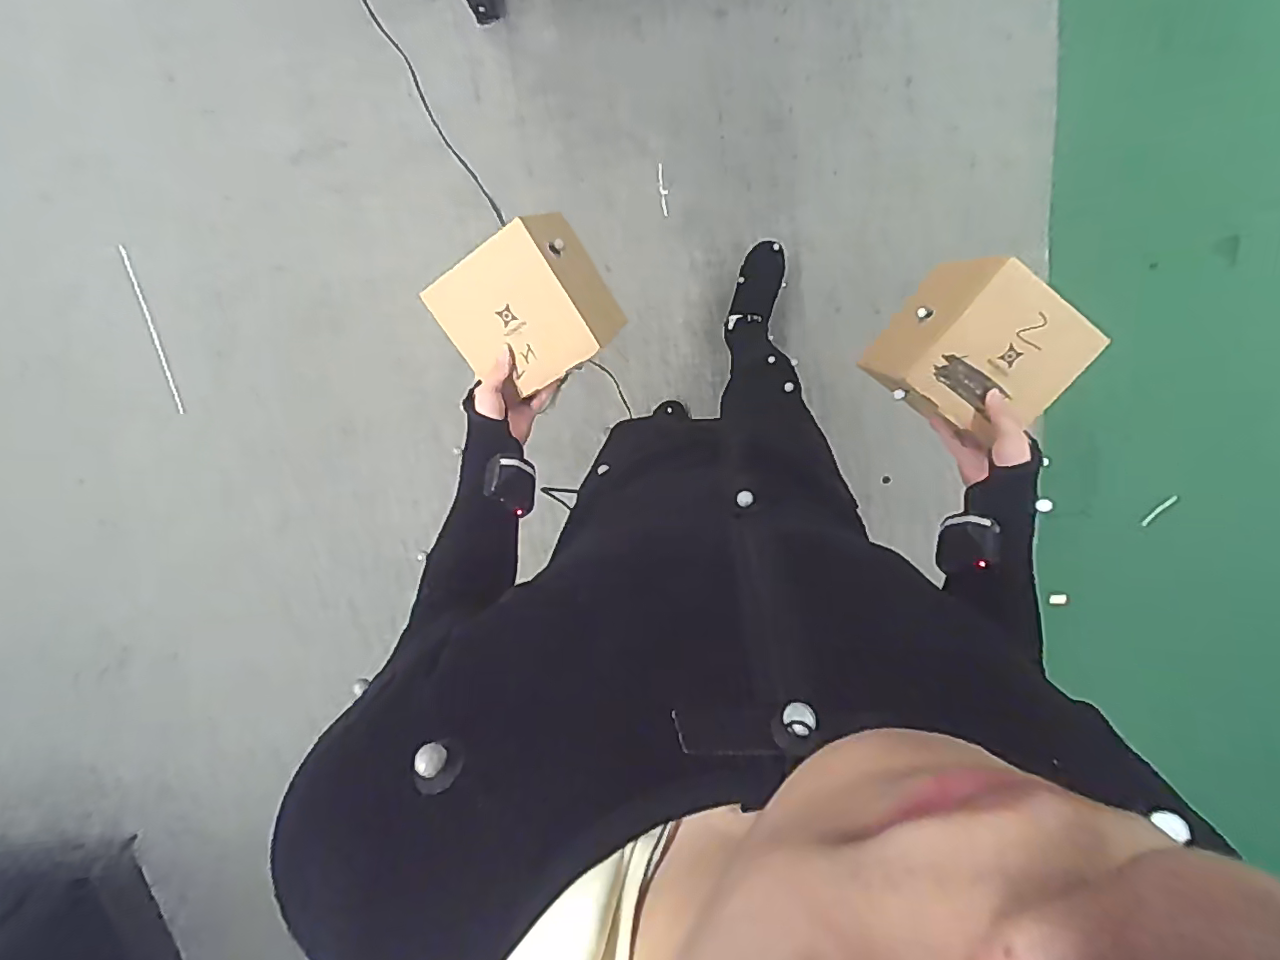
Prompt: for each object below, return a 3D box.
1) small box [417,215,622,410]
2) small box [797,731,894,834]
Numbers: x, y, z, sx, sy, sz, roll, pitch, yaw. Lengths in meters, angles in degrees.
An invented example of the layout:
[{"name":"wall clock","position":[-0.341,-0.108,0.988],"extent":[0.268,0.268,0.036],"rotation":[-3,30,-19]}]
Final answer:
[{"name":"small box","position":[-0.146,-0.225,0.715],"extent":[0.168,0.176,0.179],"rotation":[-25,110,22]},{"name":"small box","position":[0.510,0.758,1.361],"extent":[0.179,0.176,0.168],"rotation":[1,104,3]}]
